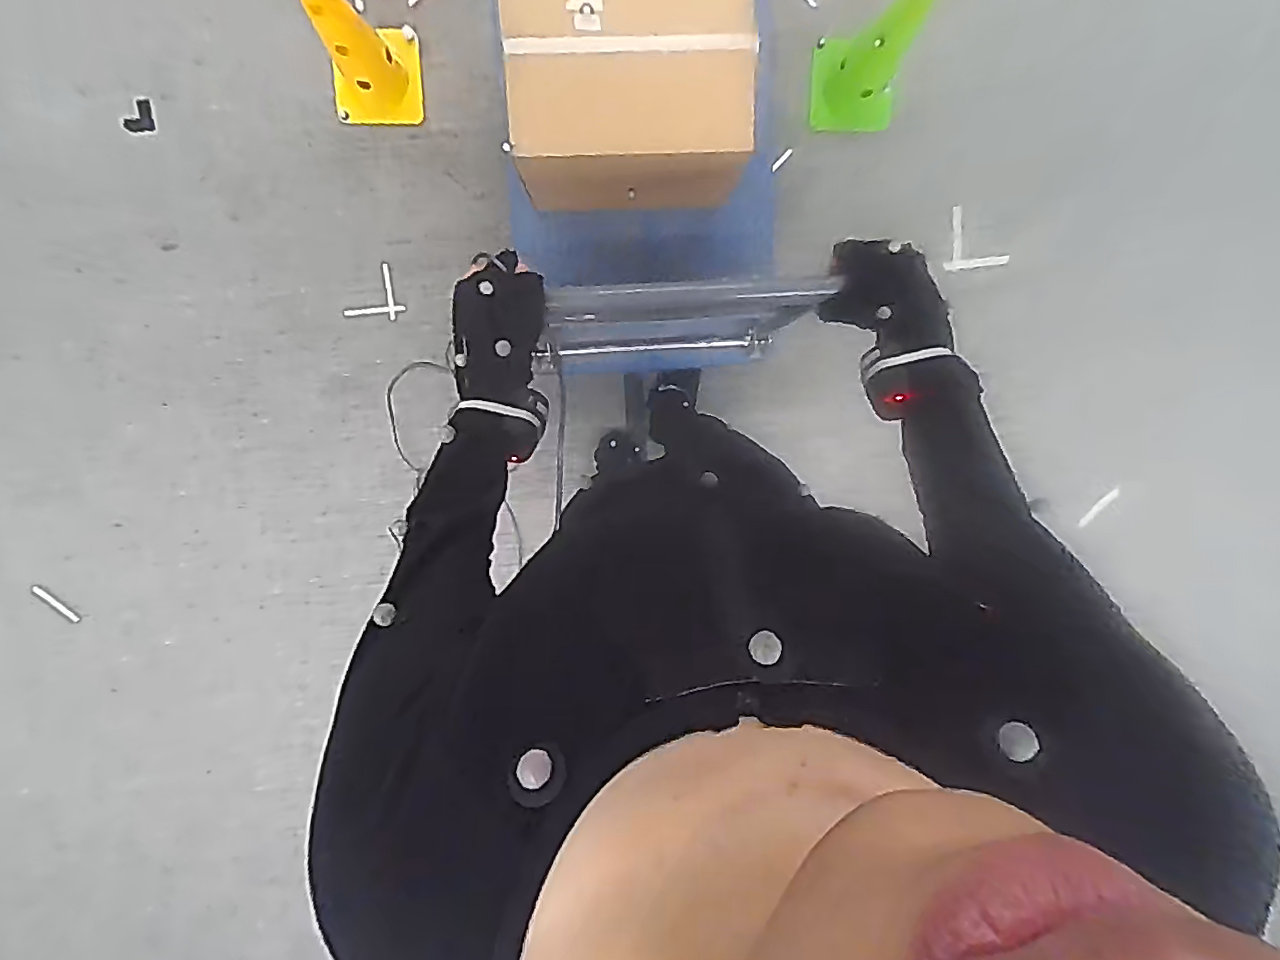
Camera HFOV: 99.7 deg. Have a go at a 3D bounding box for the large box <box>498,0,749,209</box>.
[{"bbox_3d":[-0.027,-0.721,1.016,0.408,0.320,0.320,-3,100,-2],"label":"large box"}]

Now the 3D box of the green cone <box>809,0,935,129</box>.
[{"bbox_3d":[0.523,-0.937,1.148,0.202,0.368,0.200,-1,100,-4],"label":"green cone"}]
